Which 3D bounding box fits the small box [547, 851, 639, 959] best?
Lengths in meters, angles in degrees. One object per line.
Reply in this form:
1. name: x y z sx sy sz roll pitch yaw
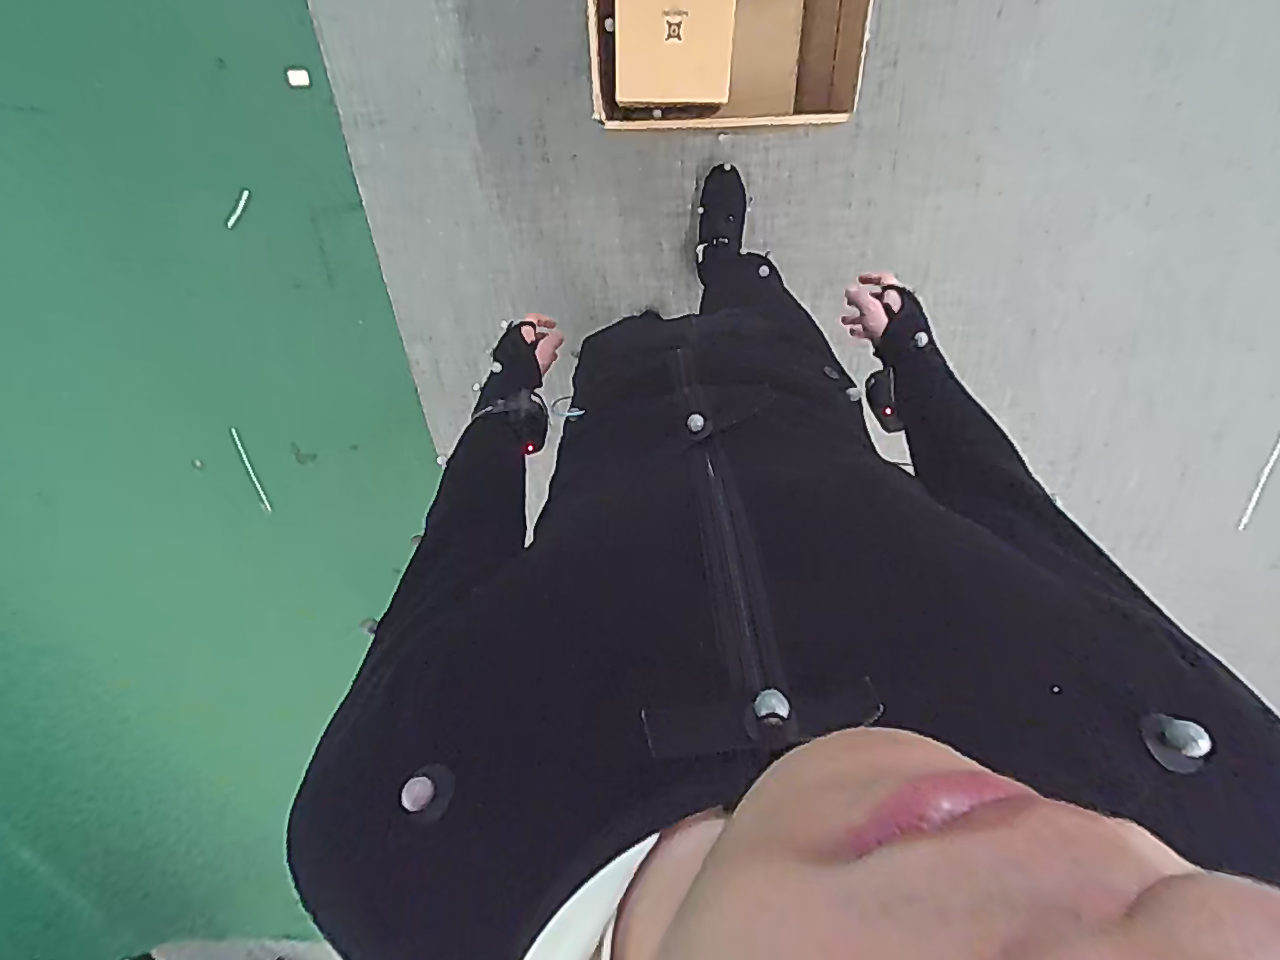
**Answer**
1. small box: -0.115 1.125 1.427 0.179 0.176 0.168 -35 112 19
